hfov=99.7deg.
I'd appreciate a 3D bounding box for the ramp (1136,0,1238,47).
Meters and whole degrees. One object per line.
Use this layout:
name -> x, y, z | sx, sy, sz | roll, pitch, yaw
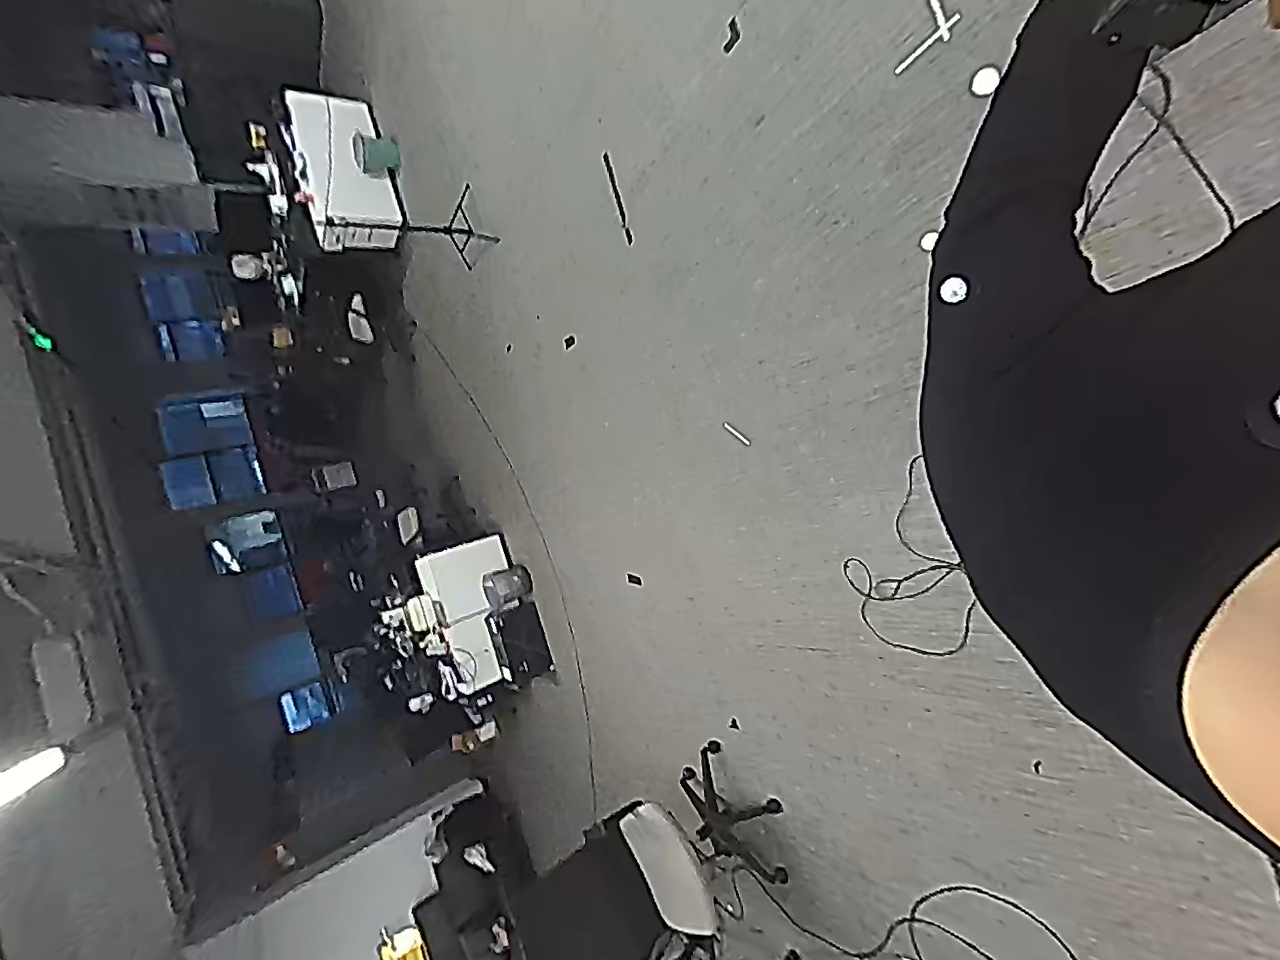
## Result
ramp -> 0.883, -1.297, 0.781 | 0.509, 0.206, 0.991 | -23, 84, 54
